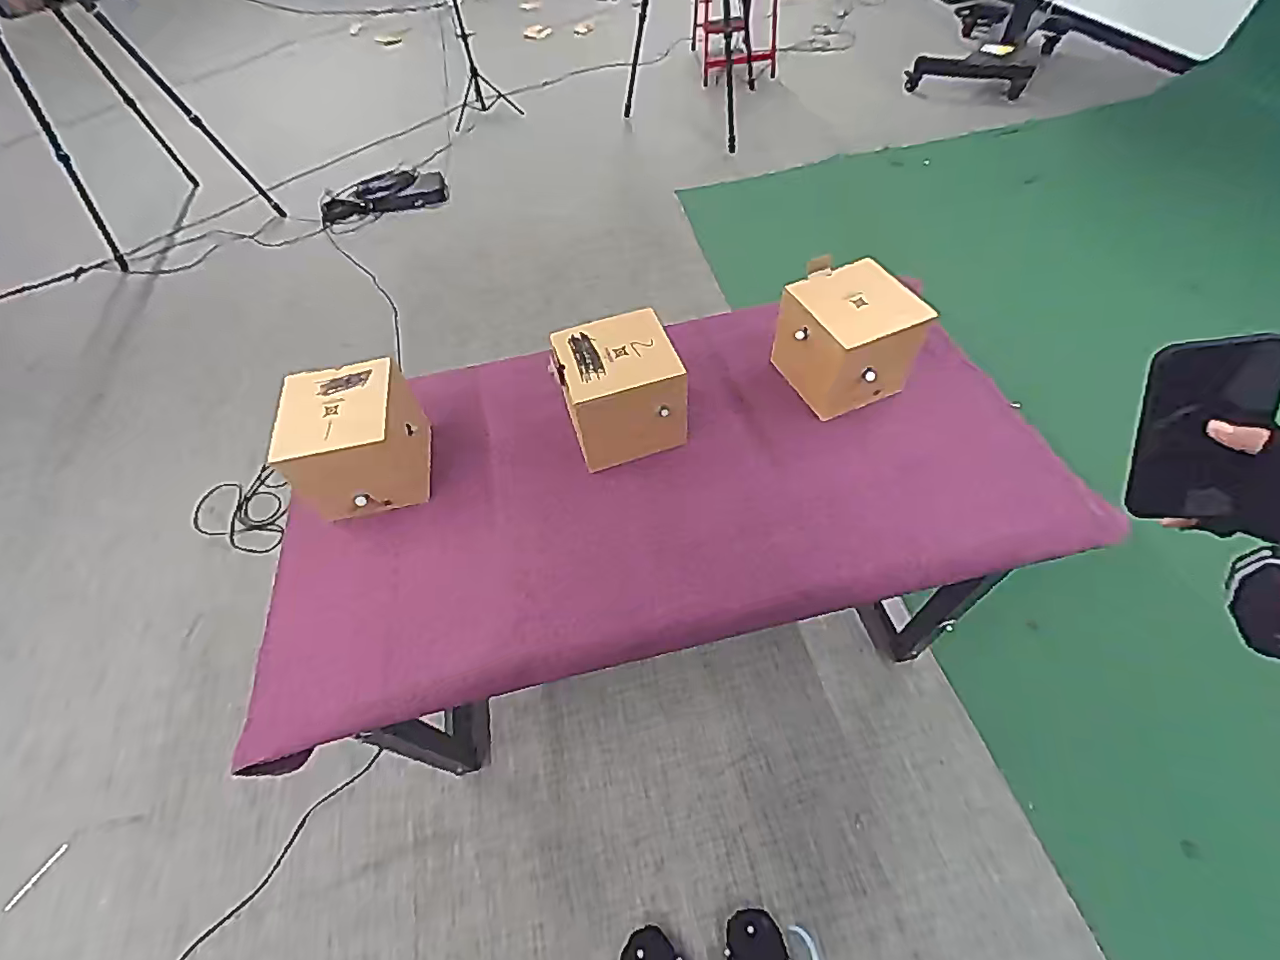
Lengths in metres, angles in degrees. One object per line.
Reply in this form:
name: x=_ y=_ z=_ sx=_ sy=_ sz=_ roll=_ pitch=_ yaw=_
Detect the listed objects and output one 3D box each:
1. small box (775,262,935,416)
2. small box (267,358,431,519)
small box: x=0.348 y=-0.229 z=0.915 sx=0.168 sy=0.176 sz=0.179 roll=-21 pitch=55 yaw=-9
small box: x=-0.447 y=-0.062 z=0.862 sx=0.168 sy=0.176 sz=0.179 roll=-12 pitch=56 yaw=-3
